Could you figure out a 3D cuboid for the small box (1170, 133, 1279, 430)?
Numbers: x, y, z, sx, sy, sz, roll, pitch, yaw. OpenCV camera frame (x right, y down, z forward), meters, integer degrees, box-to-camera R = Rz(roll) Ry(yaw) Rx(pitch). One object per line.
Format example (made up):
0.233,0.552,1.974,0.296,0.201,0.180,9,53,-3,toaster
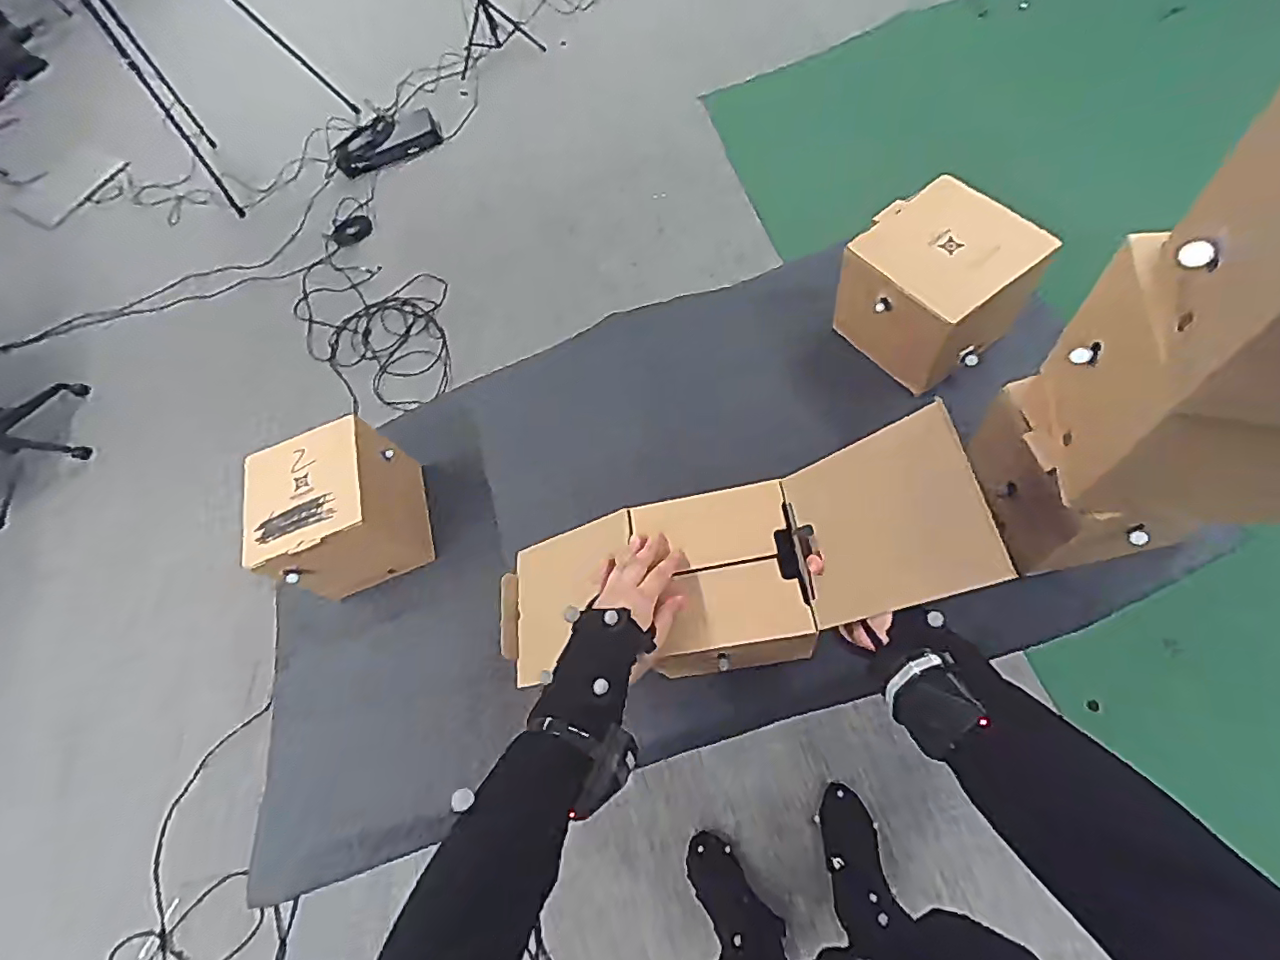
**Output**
0.436,-0.125,0.278,0.179,0.176,0.168,15,67,21,small box

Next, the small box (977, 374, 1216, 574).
0.496,-0.011,0.582,0.179,0.176,0.168,-15,61,7,small box

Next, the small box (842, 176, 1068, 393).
0.393,-0.250,0.719,0.168,0.176,0.179,-35,65,-2,small box

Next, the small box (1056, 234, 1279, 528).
0.467,-0.072,0.432,0.179,0.176,0.168,5,64,16,small box
